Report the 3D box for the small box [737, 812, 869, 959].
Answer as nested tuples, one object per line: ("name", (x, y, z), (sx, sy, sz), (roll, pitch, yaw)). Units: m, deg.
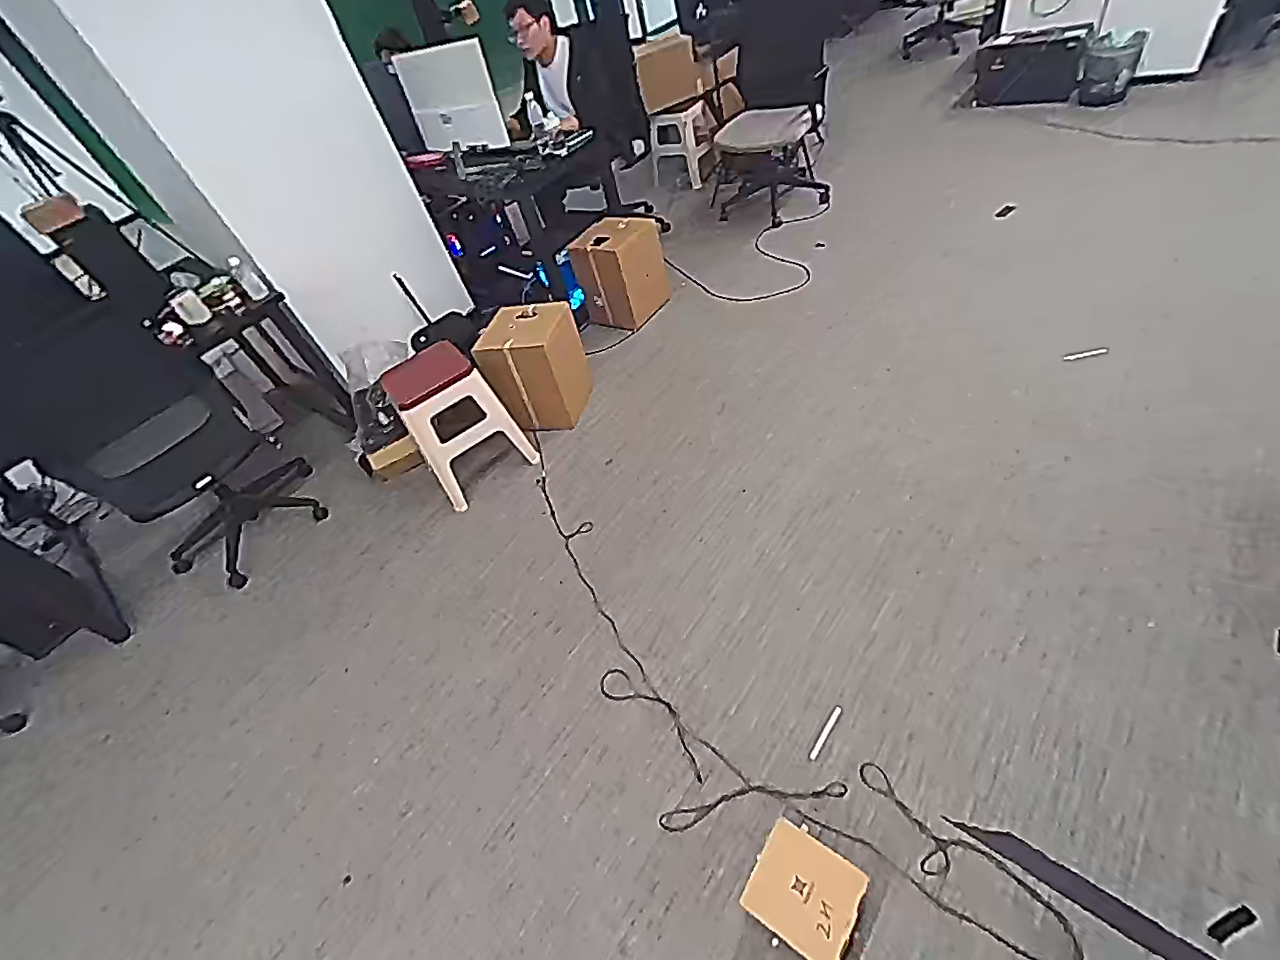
("small box", (0.304, 0.765, 1.005), (0.179, 0.176, 0.168), (21, 59, 32))
